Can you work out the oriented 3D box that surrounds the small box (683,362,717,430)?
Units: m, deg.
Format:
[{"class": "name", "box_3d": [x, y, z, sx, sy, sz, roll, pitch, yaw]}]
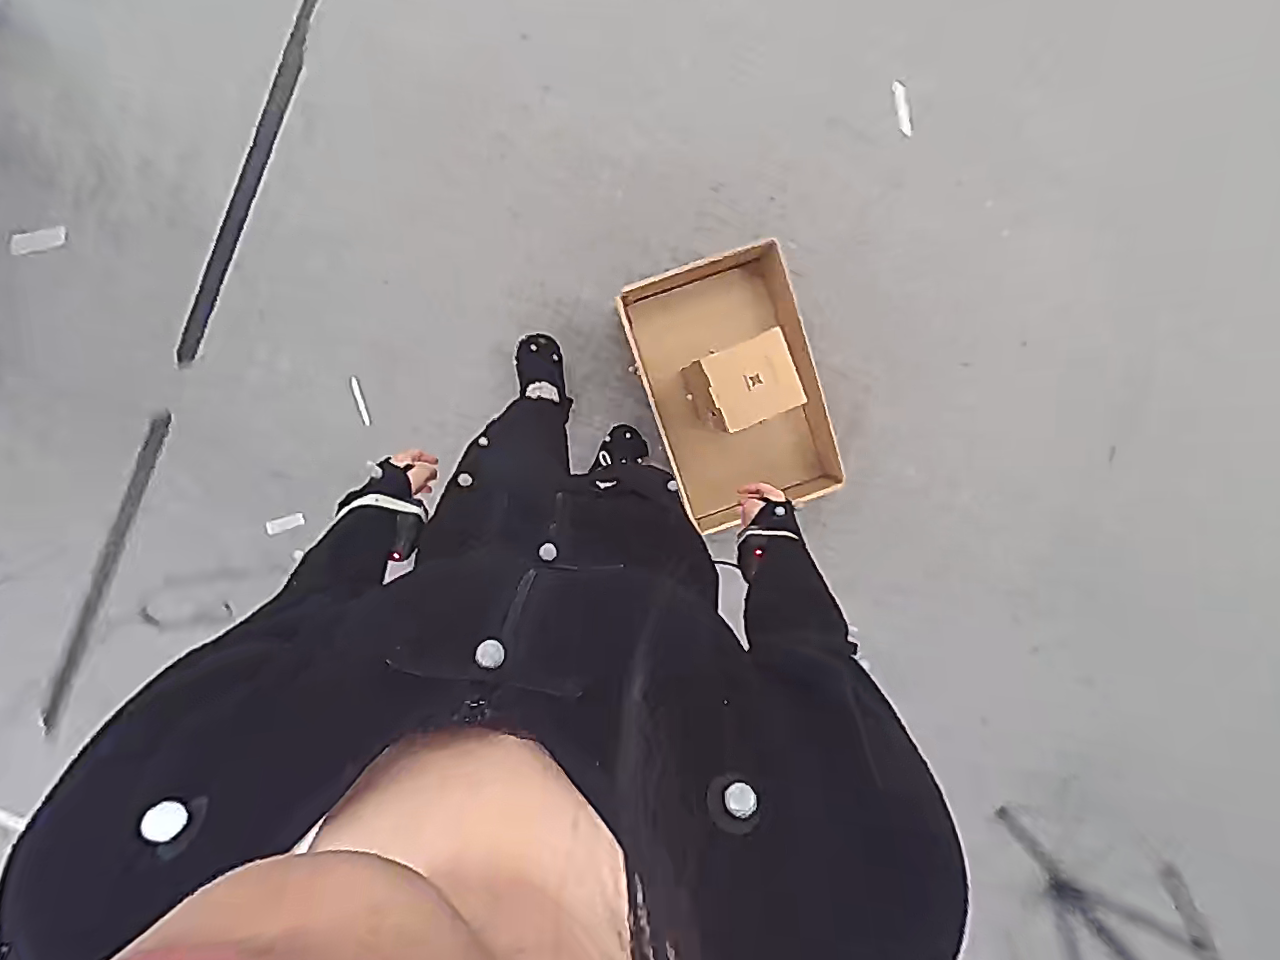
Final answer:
[{"class": "small box", "box_3d": [0.217, -0.231, 1.338, 0.179, 0.176, 0.168, -18, 99, 1]}]

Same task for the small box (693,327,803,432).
[{"class": "small box", "box_3d": [0.223, -0.213, 1.177, 0.179, 0.176, 0.168, -23, 100, 0]}]
